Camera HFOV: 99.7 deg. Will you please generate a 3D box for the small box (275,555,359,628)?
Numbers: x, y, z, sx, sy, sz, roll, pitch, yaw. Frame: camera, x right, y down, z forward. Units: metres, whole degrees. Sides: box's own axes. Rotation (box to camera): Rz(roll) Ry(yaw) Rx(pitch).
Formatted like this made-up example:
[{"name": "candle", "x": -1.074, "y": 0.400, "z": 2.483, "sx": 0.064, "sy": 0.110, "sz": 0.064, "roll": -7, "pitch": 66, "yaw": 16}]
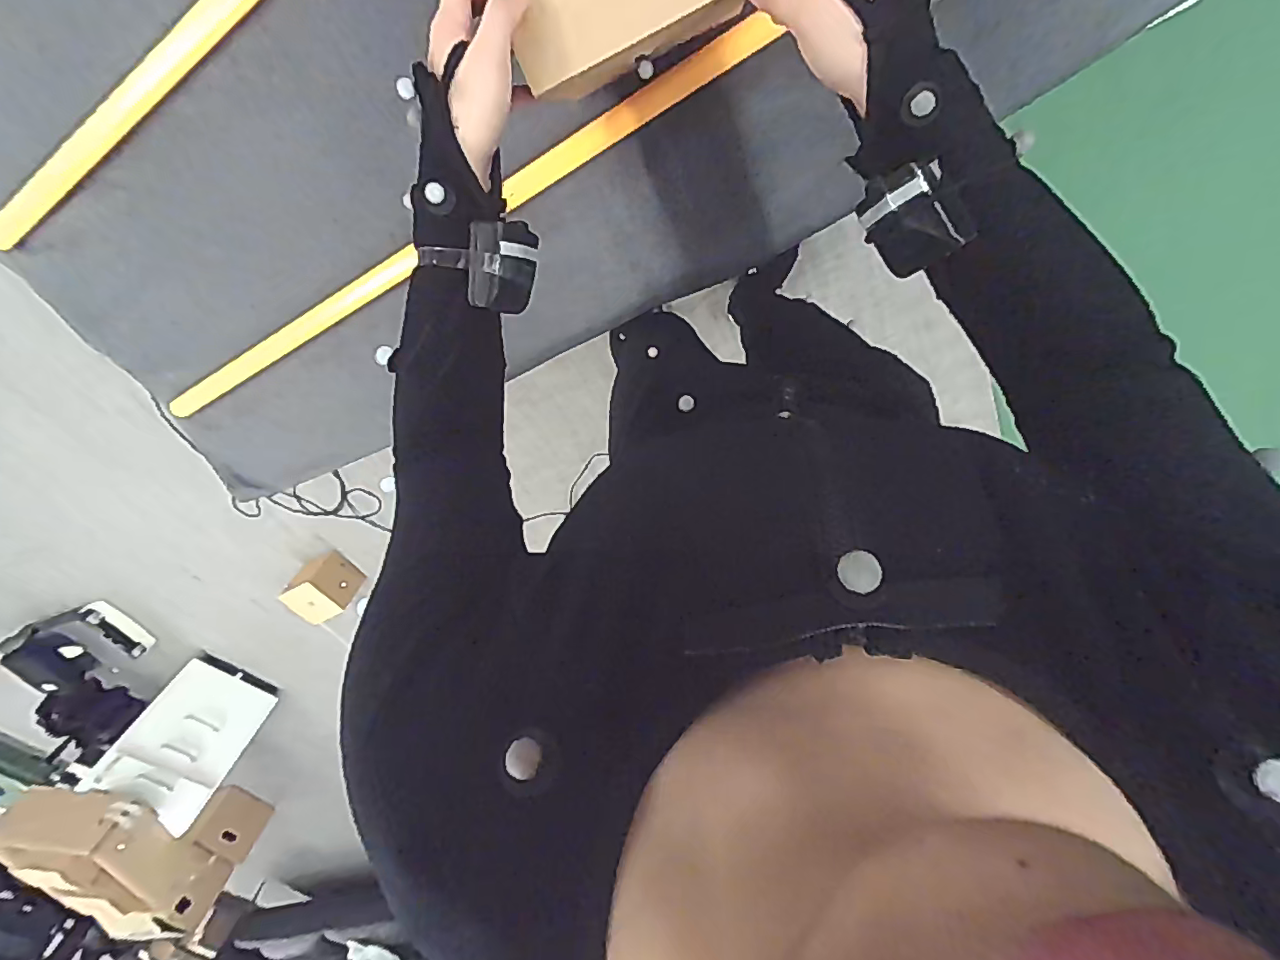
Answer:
[{"name": "small box", "x": -1.150, "y": 0.398, "z": 1.946, "sx": 0.179, "sy": 0.176, "sz": 0.168, "roll": -25, "pitch": 119, "yaw": 21}]
